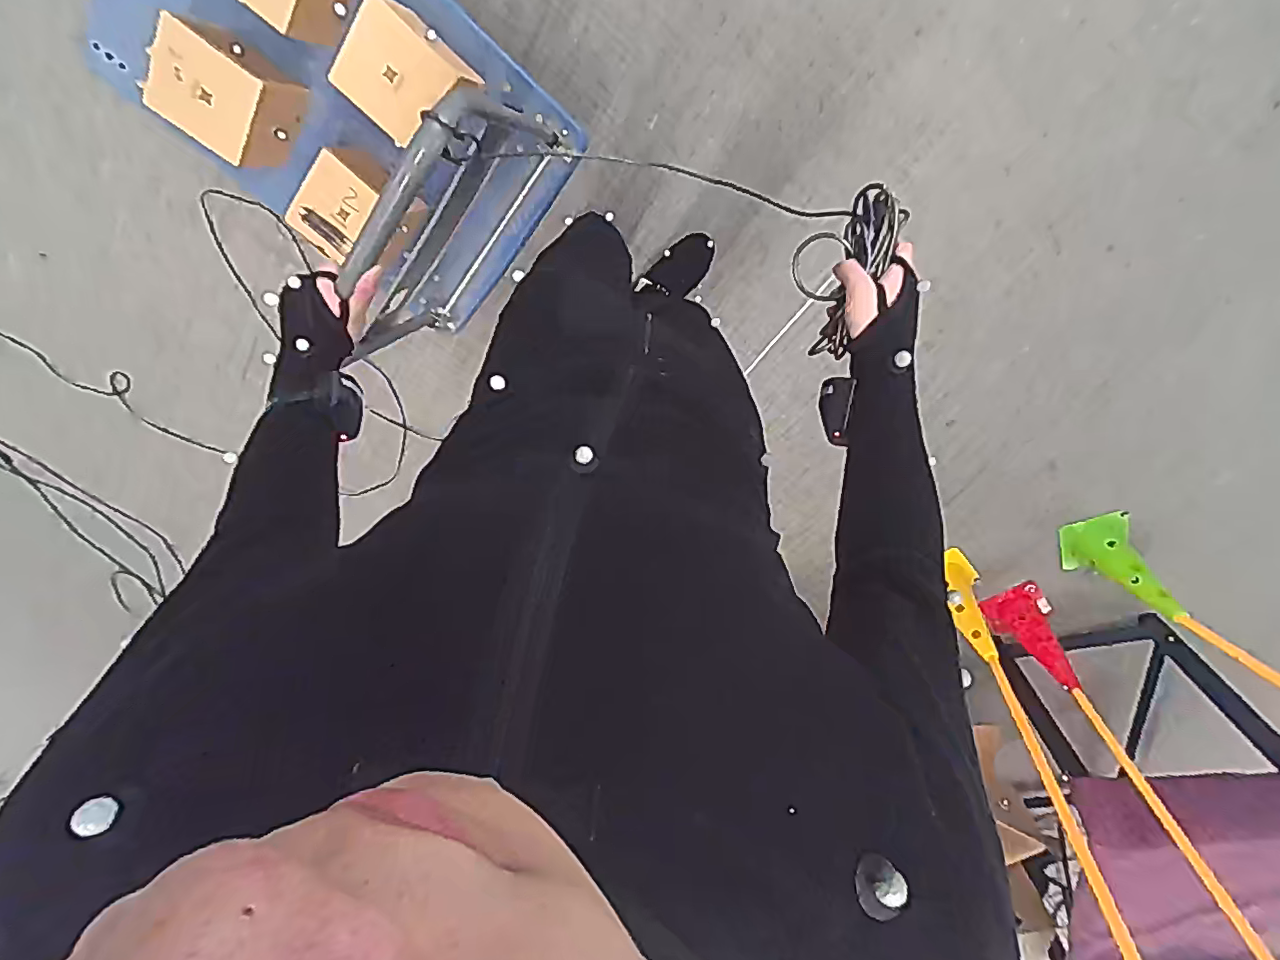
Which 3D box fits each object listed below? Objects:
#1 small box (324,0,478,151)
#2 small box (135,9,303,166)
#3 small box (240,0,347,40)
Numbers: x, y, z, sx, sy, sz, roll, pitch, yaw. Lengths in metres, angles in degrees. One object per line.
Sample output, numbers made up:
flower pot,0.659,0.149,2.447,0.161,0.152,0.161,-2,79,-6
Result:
small box,-0.437,-0.748,1.013,0.179,0.176,0.168,38,115,-20
small box,-0.790,-0.735,1.031,0.179,0.176,0.168,34,116,-18
small box,-0.625,-0.900,0.922,0.179,0.176,0.168,35,117,-19
